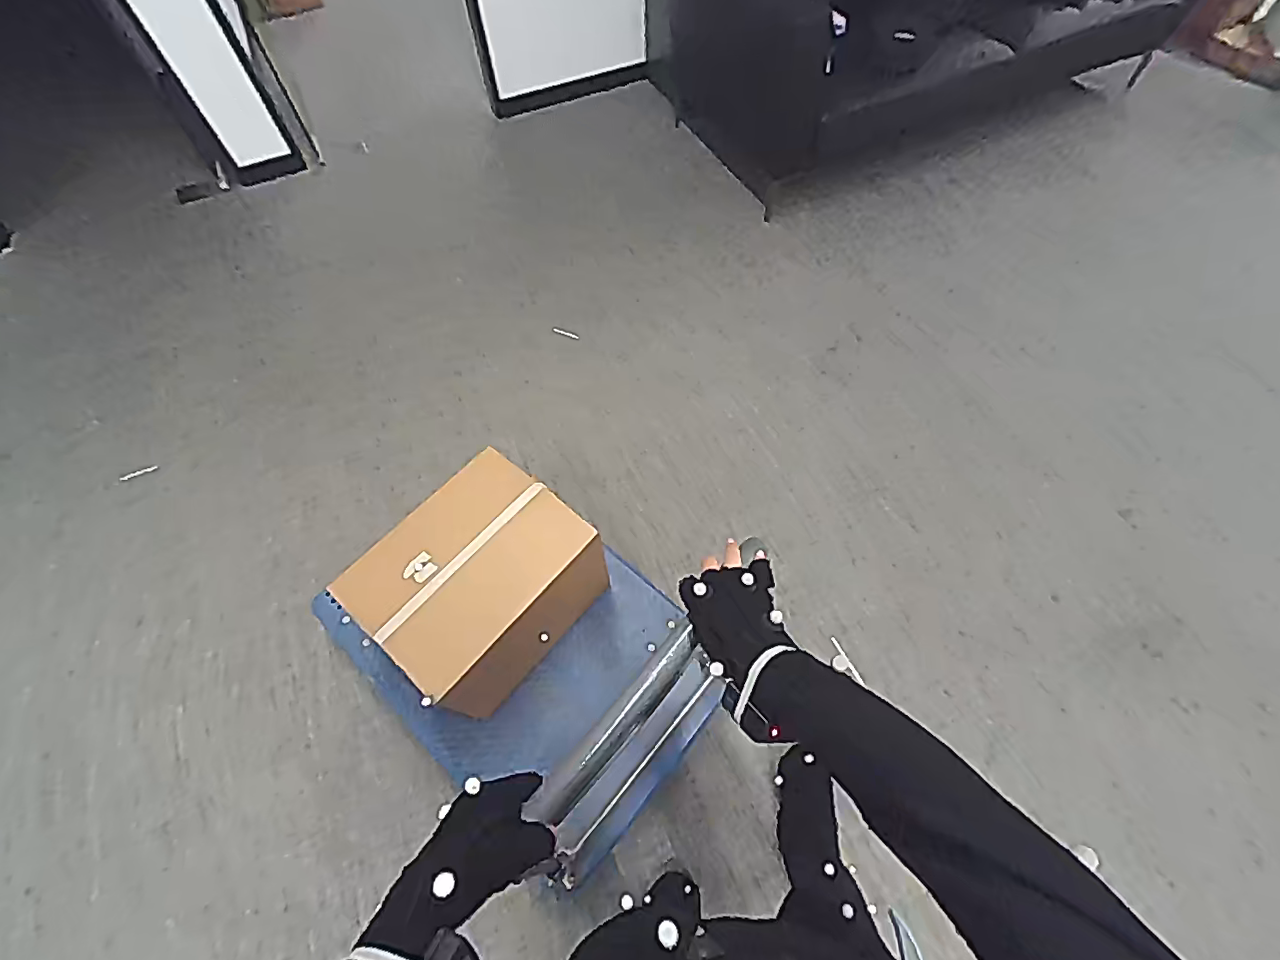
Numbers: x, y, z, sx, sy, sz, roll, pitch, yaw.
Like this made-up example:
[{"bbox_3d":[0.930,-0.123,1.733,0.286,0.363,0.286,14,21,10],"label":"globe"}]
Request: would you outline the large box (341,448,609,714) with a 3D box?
[{"bbox_3d":[-0.311,0.219,1.149,0.320,0.320,0.408,35,68,19],"label":"large box"}]
